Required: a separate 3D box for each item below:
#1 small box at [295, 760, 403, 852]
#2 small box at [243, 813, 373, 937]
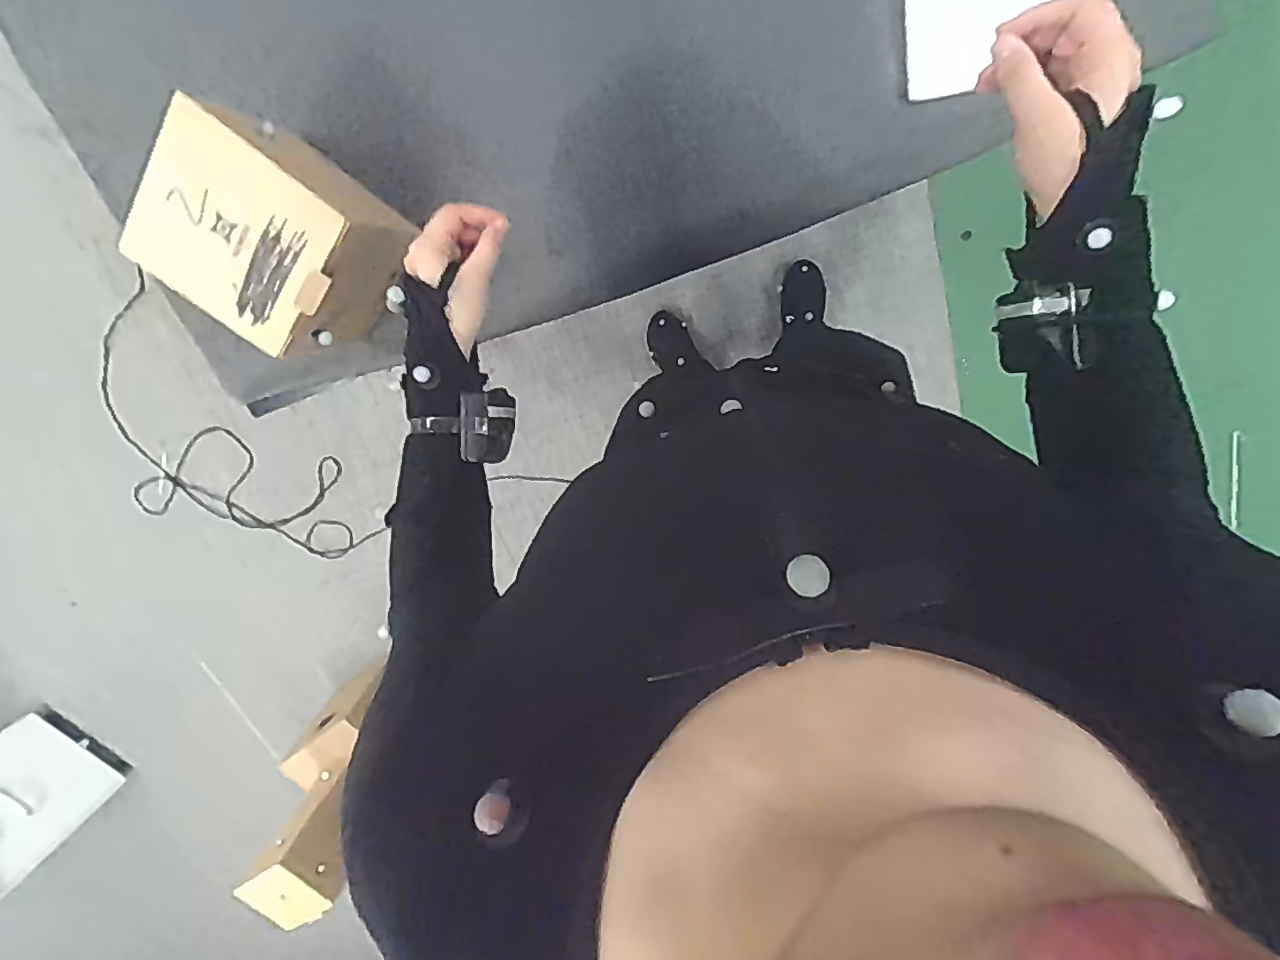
[{"bbox_3d":[-0.800,0.923,1.499,0.168,0.176,0.179,-36,104,13],"label":"small box"},{"bbox_3d":[-0.814,0.967,1.343,0.168,0.176,0.179,-36,105,13],"label":"small box"}]
